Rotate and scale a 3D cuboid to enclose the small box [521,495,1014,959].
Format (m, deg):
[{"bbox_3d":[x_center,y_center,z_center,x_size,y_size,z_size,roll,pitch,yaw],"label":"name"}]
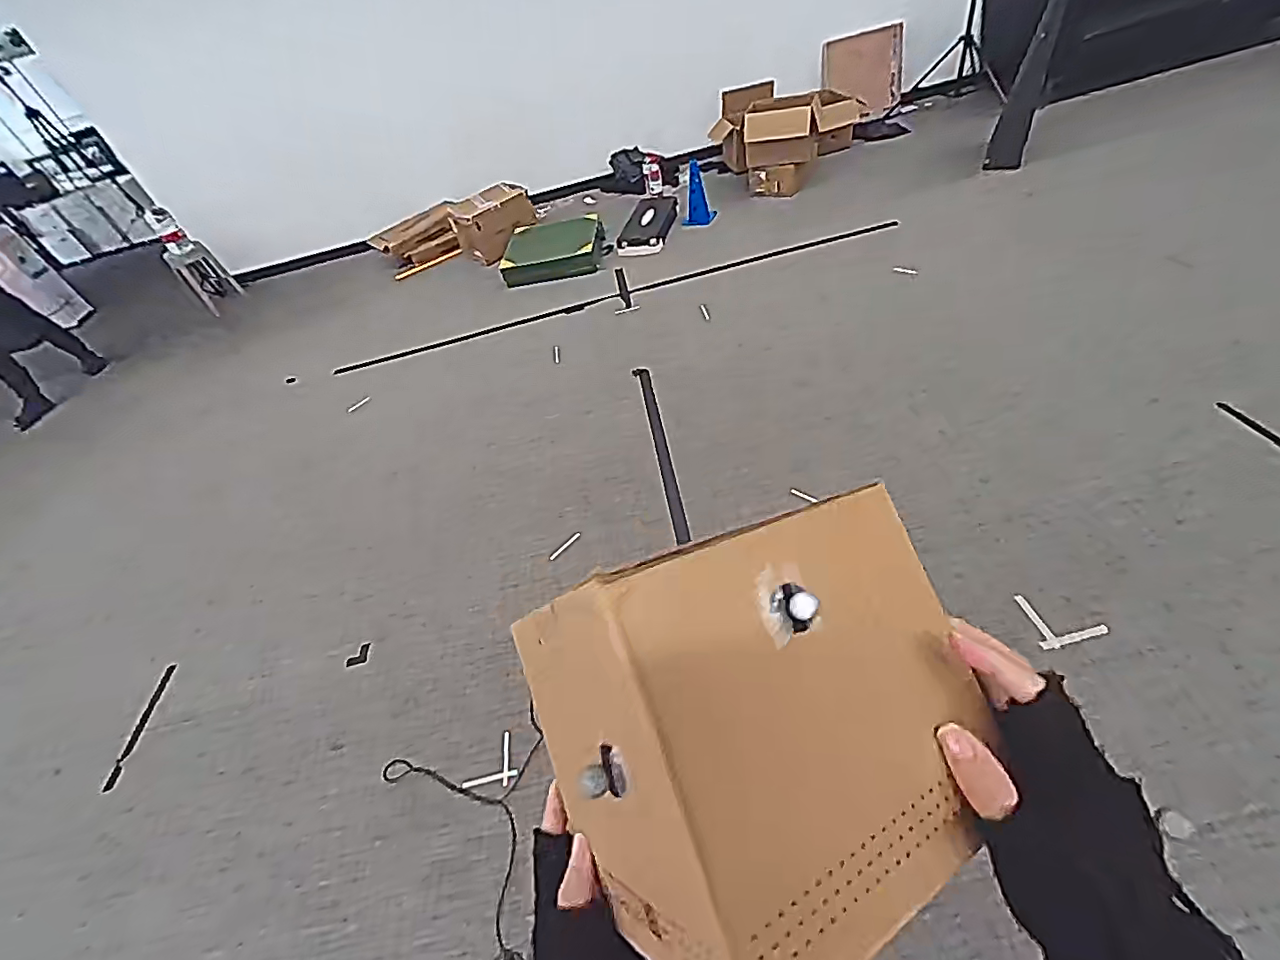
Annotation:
[{"bbox_3d":[0.055,0.129,0.297,0.179,0.168,0.176,-15,77,-27],"label":"small box"}]
